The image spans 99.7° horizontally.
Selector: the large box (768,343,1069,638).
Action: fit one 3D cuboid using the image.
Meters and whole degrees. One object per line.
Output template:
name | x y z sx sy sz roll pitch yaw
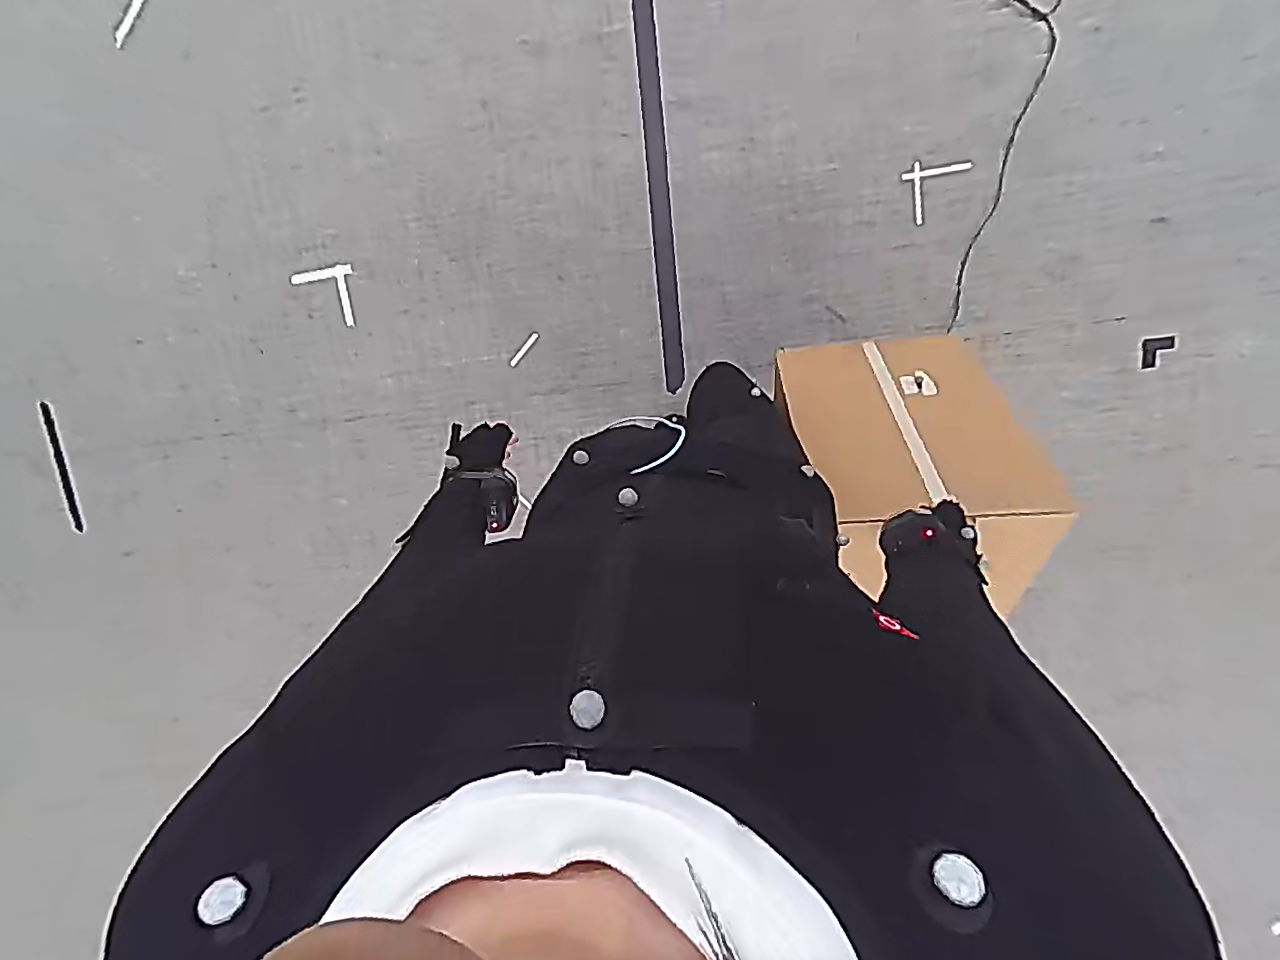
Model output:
large box | 0.407 0.013 0.928 0.320 0.408 0.320 -3 134 5
